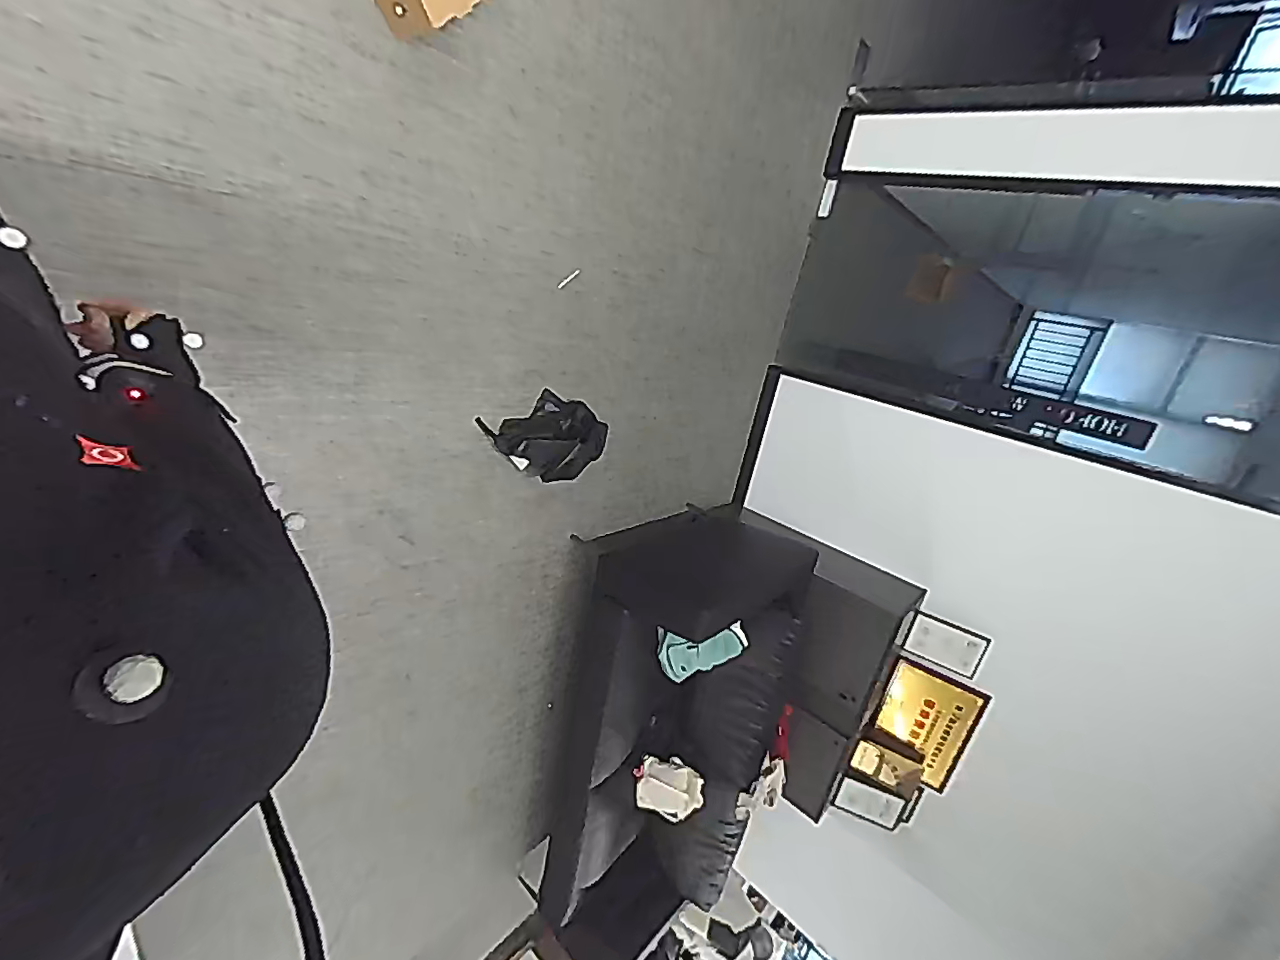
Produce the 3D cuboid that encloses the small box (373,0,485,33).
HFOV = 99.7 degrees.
[{"bbox_3d":[-0.436,-1.009,1.055,0.168,0.176,0.179,-51,143,-20],"label":"small box"}]
